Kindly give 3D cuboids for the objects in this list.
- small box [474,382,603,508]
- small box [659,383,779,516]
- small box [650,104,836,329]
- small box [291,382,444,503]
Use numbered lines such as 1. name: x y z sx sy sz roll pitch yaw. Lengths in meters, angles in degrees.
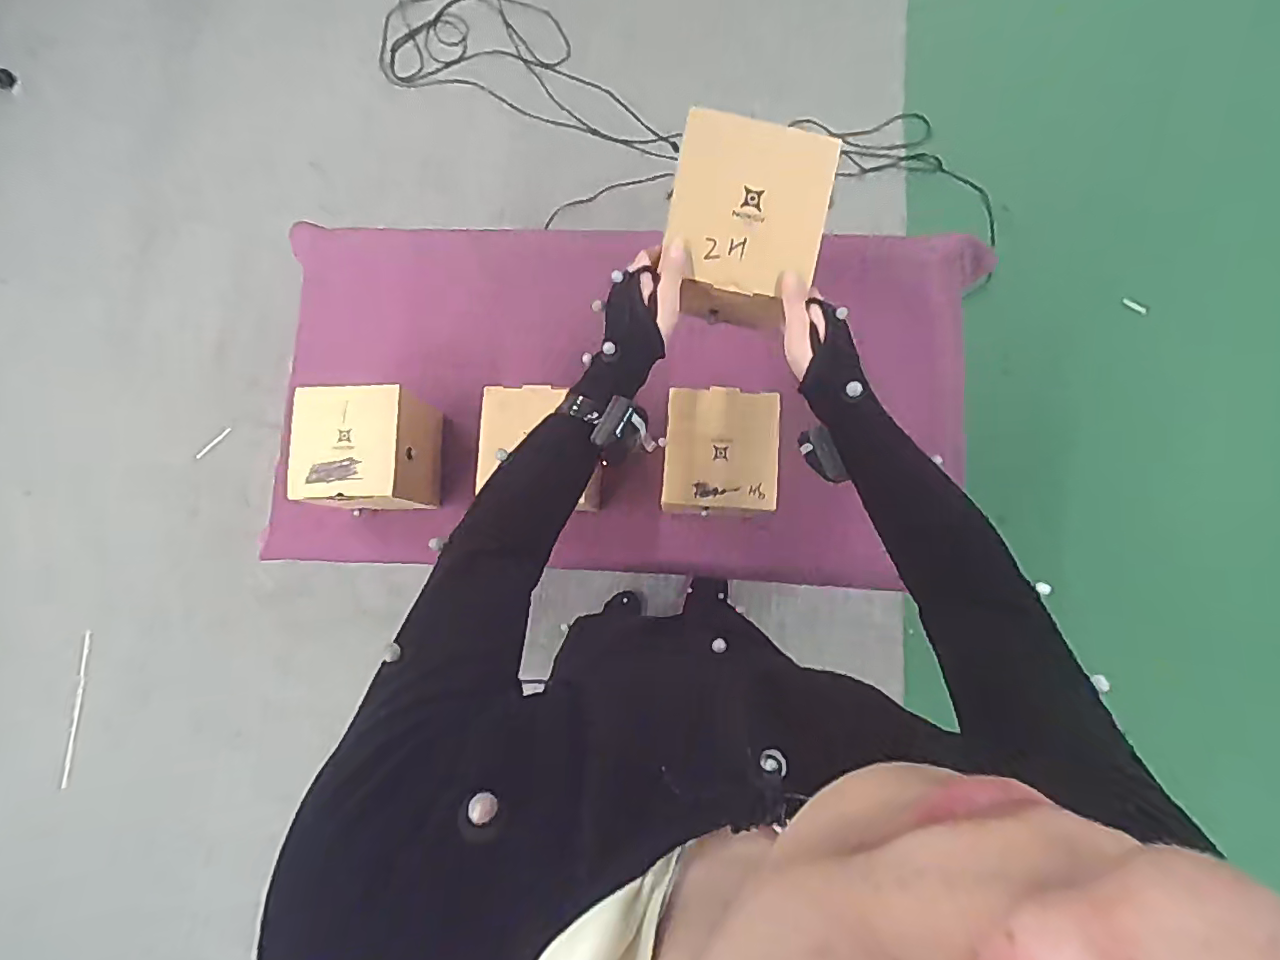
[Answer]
1. small box: -0.156 -0.050 0.887 0.168 0.176 0.179 2 84 5
2. small box: 0.121 -0.041 0.866 0.168 0.176 0.179 4 83 5
3. small box: 0.107 -0.297 0.648 0.168 0.176 0.179 12 96 -2
4. small box: -0.442 -0.053 0.902 0.168 0.176 0.179 -1 81 3
